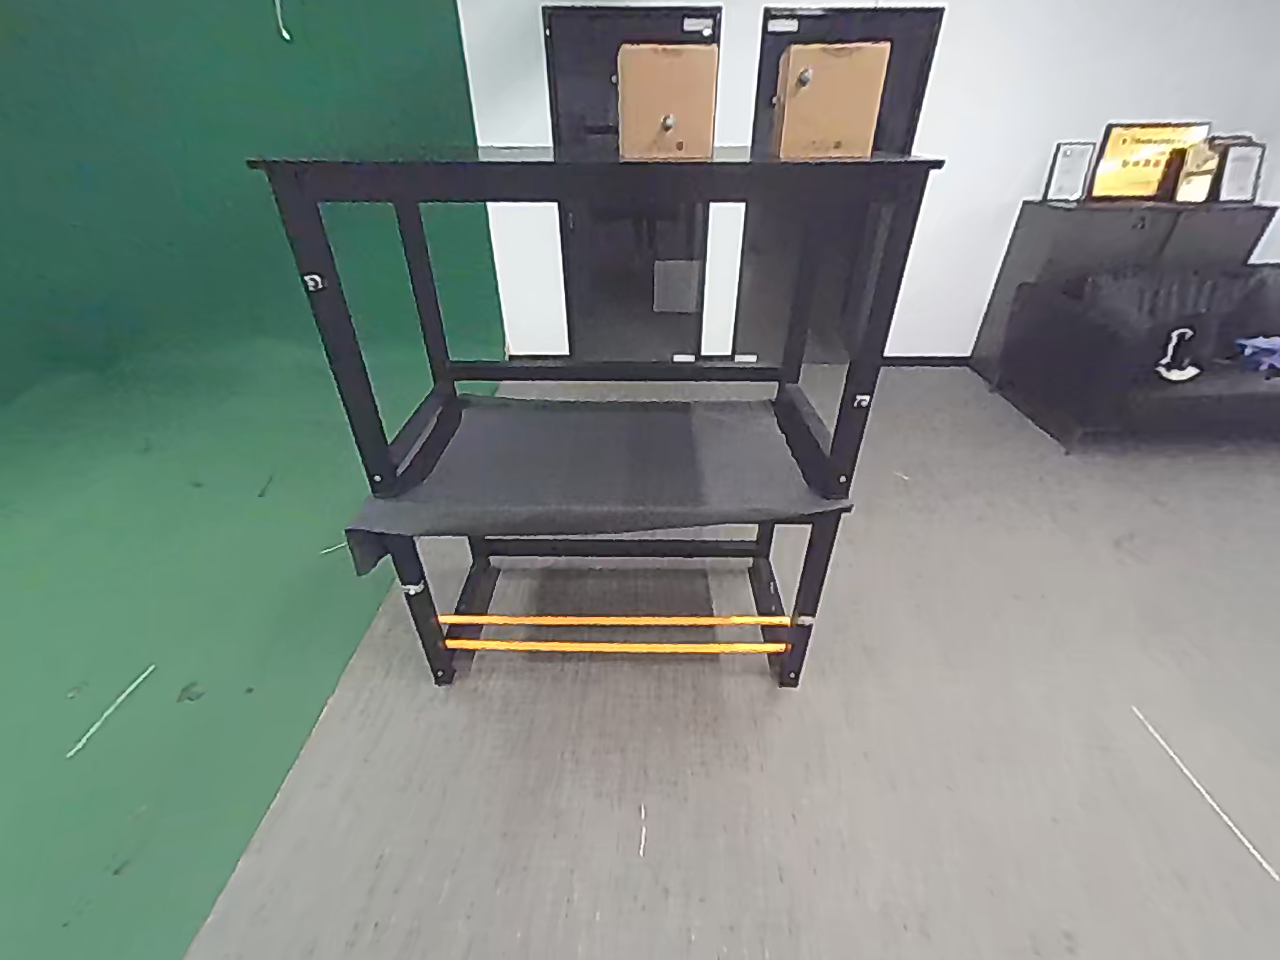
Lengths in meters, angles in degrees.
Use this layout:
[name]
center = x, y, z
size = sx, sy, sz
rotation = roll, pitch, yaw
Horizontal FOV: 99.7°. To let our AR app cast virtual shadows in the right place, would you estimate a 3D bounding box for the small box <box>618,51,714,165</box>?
[small box]
center = 0.042, -0.711, 1.045
size = 0.168, 0.176, 0.179
rotation = -3, 33, -3
